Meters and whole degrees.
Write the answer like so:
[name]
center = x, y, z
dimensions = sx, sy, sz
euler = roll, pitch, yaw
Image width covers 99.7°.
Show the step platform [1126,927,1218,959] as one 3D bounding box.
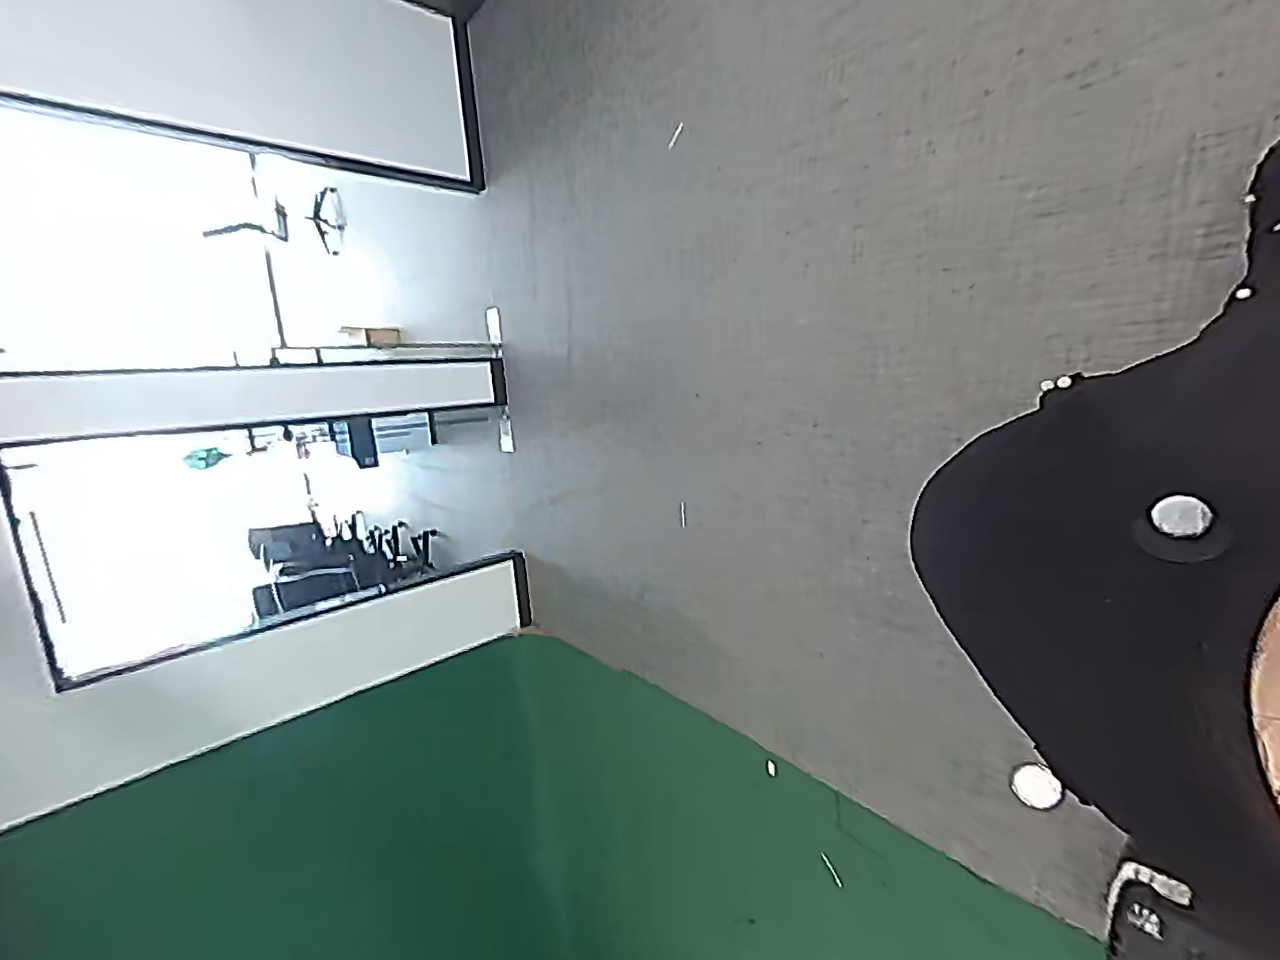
[step platform]
center = 1.173, 1.062, 0.822
dimensions = 0.684, 0.204, 0.286
euler = 7, 105, 48
